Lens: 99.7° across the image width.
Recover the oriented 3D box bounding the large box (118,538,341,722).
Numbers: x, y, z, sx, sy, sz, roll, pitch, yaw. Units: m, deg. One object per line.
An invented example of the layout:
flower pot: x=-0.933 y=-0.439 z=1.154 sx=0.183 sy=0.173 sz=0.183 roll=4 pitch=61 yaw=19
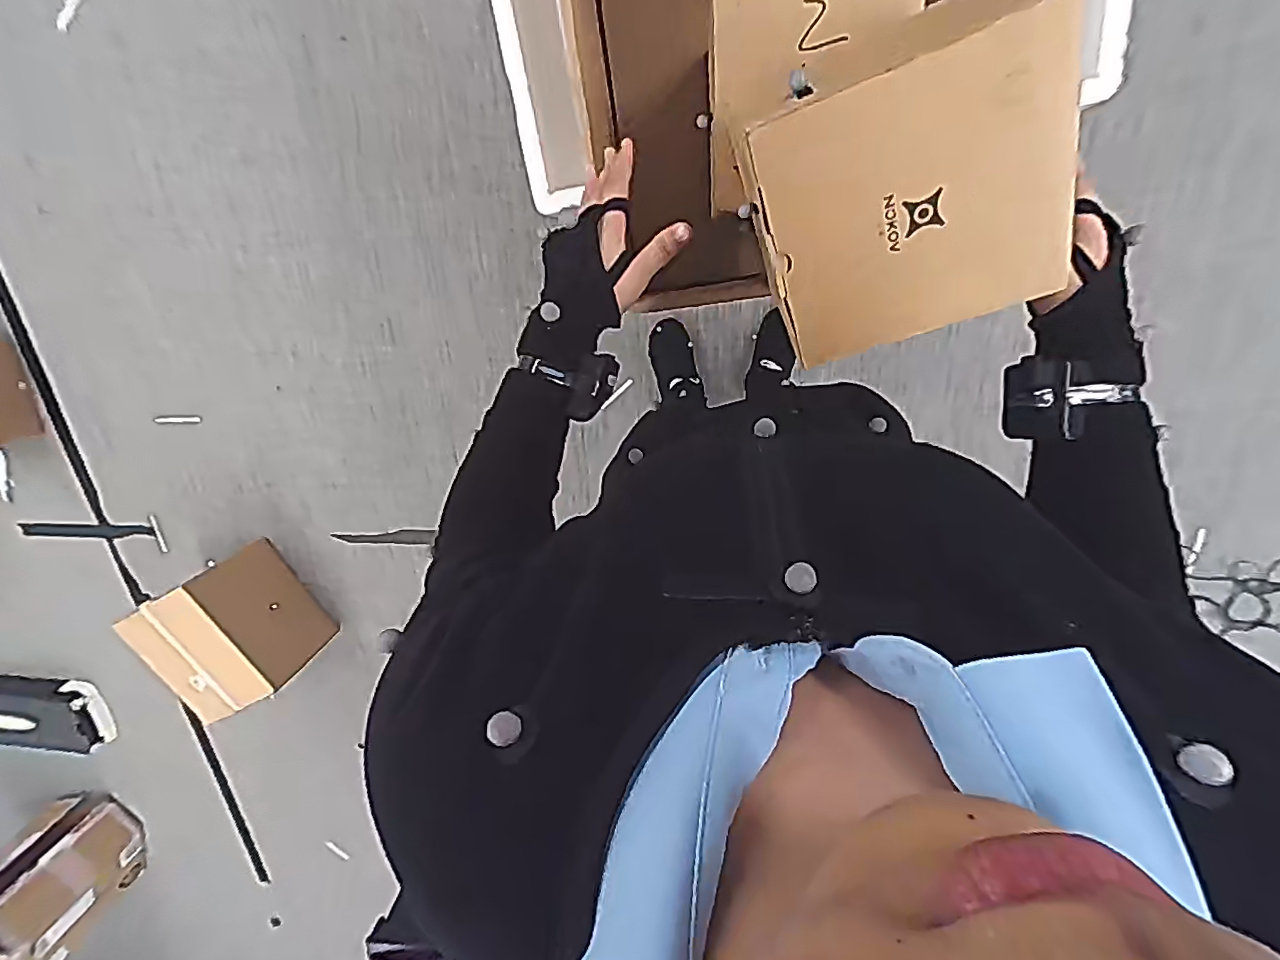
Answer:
large box: x=-1.266 y=0.464 z=1.709 sx=0.320 sy=0.320 sz=0.408 roll=-26 pitch=106 yaw=16
